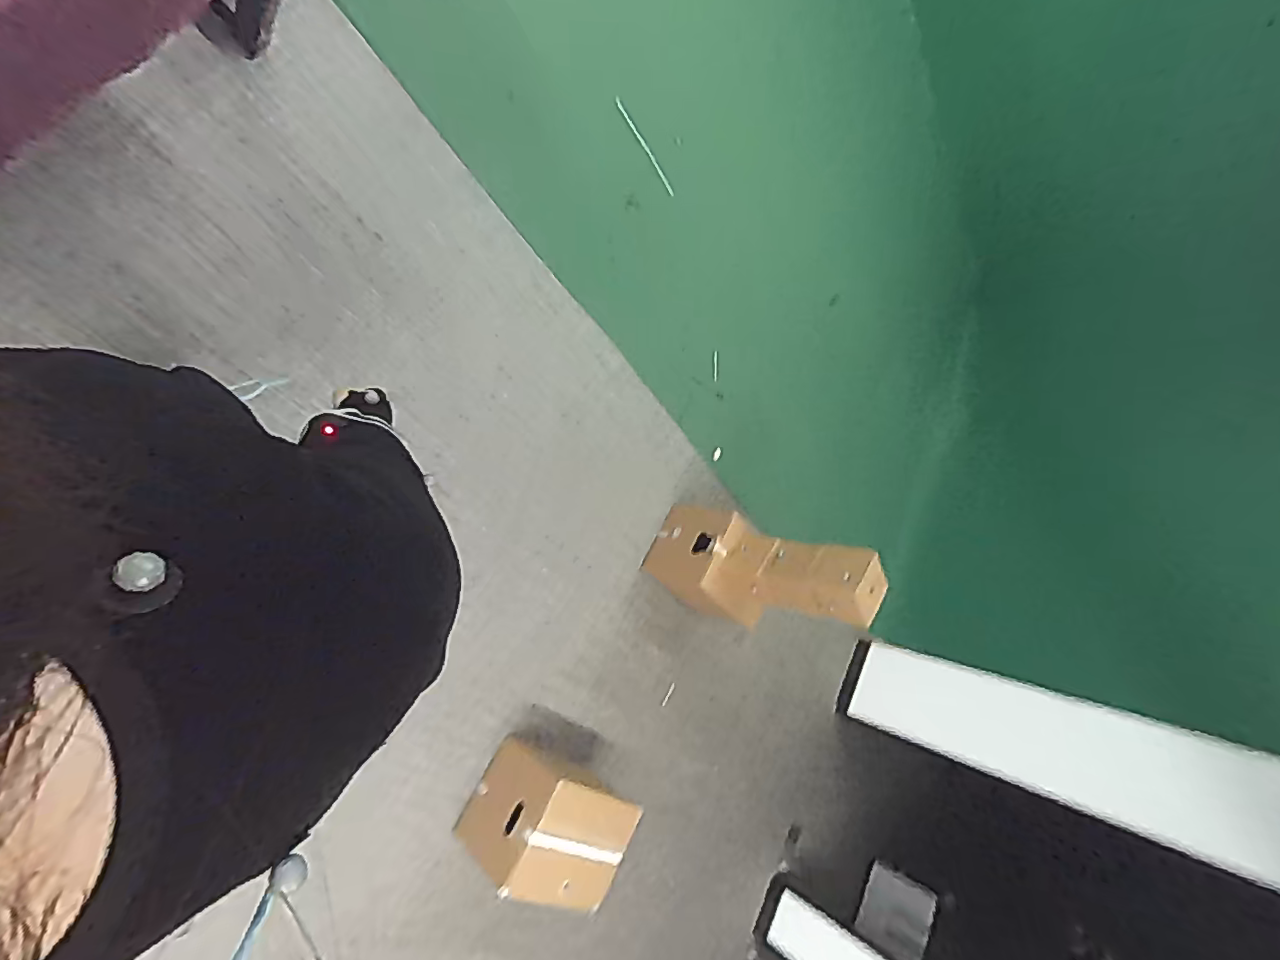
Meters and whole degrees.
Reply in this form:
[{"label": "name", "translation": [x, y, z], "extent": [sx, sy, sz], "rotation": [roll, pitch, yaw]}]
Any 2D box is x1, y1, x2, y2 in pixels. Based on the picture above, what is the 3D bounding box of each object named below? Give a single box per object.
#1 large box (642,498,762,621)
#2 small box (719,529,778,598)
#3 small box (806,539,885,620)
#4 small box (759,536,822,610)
[{"label": "large box", "translation": [0.280, 0.311, 2.160], "extent": [0.408, 0.320, 0.320], "rotation": [45, 65, -37]}, {"label": "small box", "translation": [0.417, 0.295, 1.954], "extent": [0.168, 0.176, 0.179], "rotation": [-51, 125, -27]}, {"label": "small box", "translation": [0.648, 0.311, 1.722], "extent": [0.179, 0.176, 0.168], "rotation": [-48, 123, -29]}, {"label": "small box", "translation": [0.535, 0.309, 1.841], "extent": [0.168, 0.176, 0.179], "rotation": [-49, 123, -29]}]
